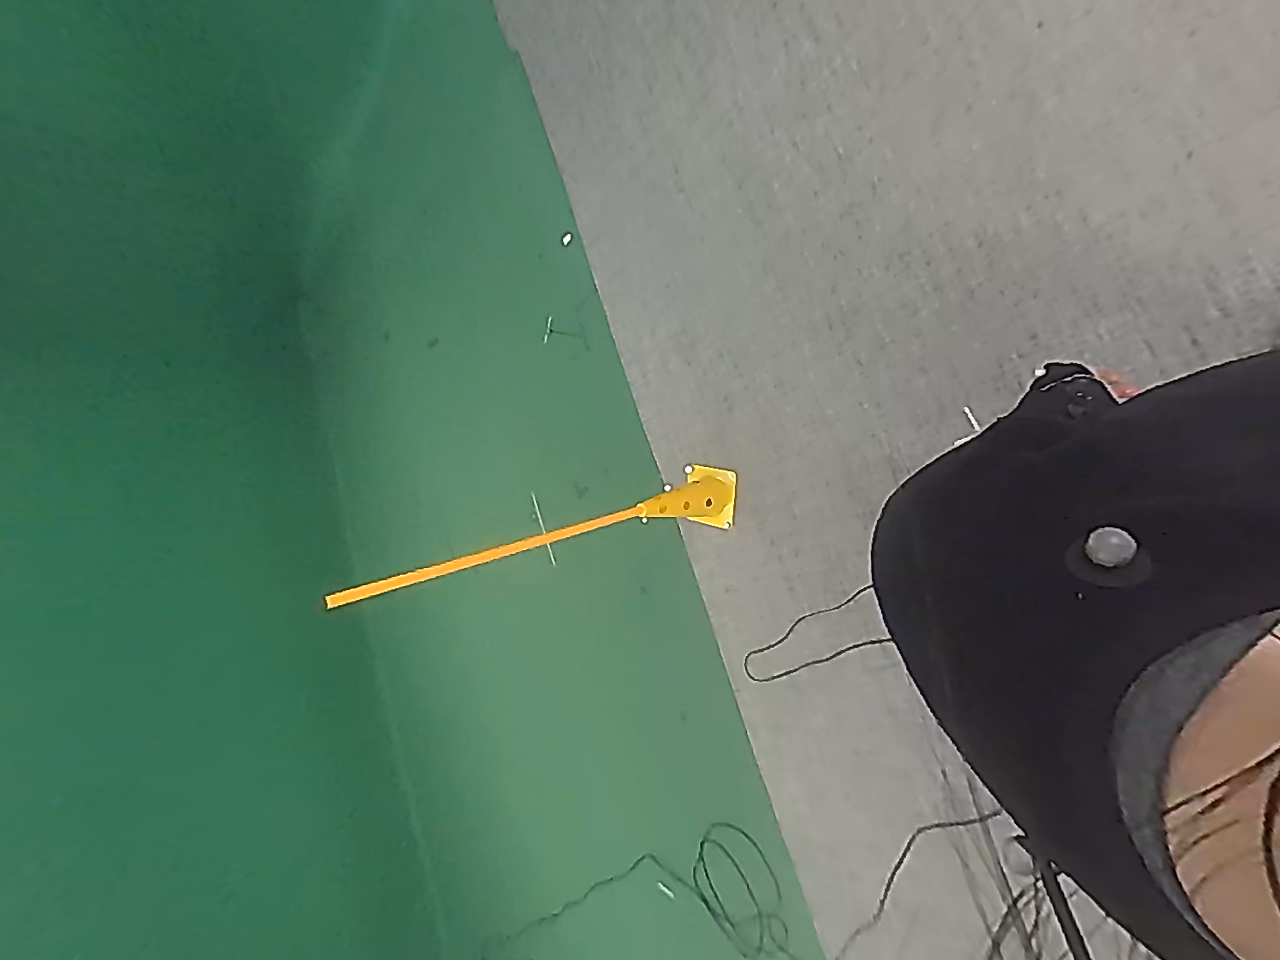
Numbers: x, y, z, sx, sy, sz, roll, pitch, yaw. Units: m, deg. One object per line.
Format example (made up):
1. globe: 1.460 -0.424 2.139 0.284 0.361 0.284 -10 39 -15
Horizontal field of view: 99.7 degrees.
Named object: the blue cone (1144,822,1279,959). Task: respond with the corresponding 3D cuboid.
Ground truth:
1. blue cone: 1.068 0.823 0.961 0.193 0.380 0.192 30 114 33
